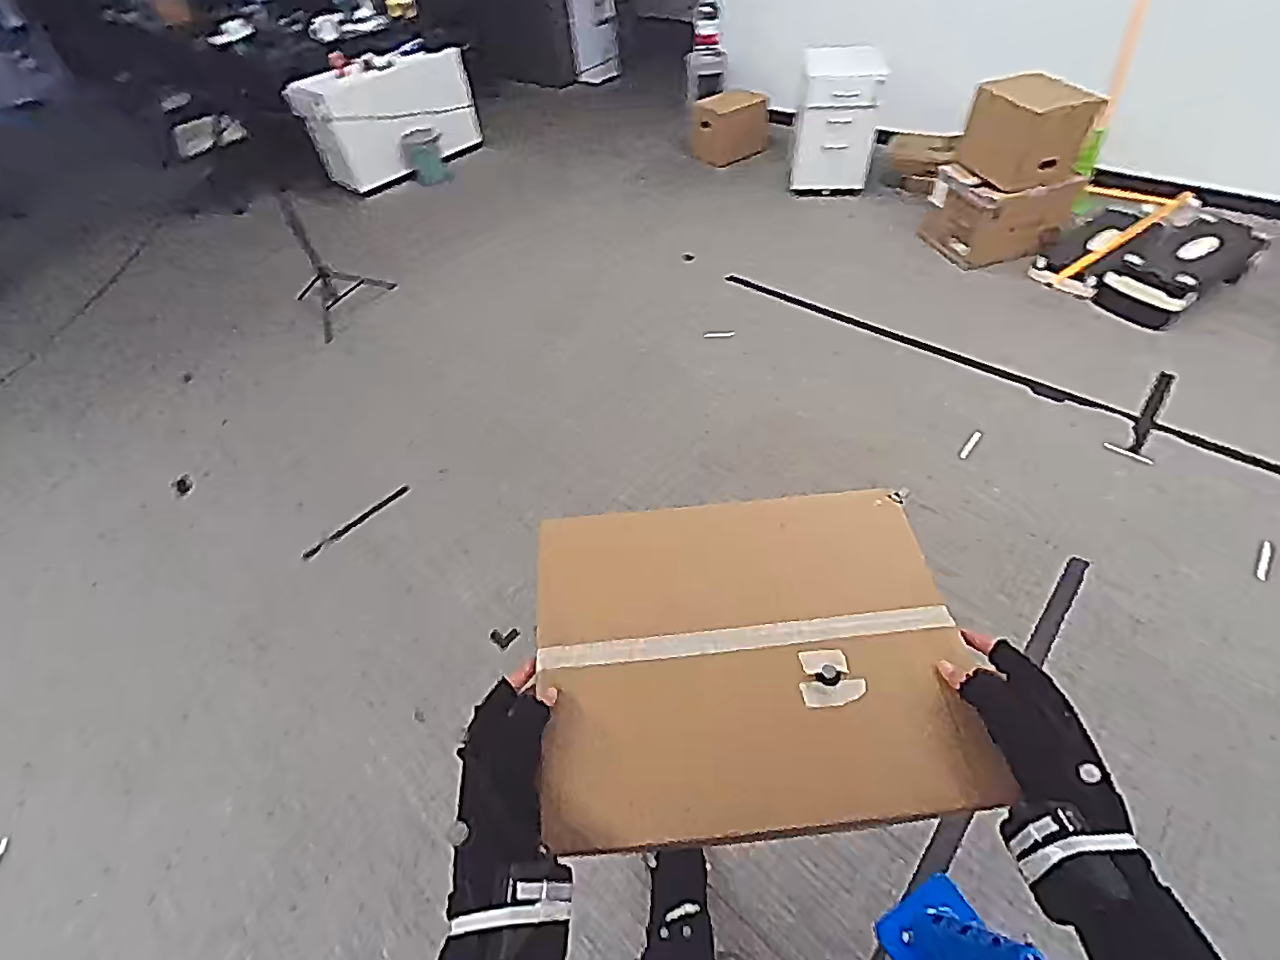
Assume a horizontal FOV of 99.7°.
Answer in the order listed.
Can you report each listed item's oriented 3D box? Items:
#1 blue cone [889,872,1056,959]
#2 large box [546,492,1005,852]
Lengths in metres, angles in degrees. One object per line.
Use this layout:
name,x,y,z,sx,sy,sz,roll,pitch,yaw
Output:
blue cone,0.609,0.820,0.950,0.192,0.380,0.193,-25,53,-14
large box,0.109,0.244,0.663,0.408,0.320,0.320,-5,54,-1
